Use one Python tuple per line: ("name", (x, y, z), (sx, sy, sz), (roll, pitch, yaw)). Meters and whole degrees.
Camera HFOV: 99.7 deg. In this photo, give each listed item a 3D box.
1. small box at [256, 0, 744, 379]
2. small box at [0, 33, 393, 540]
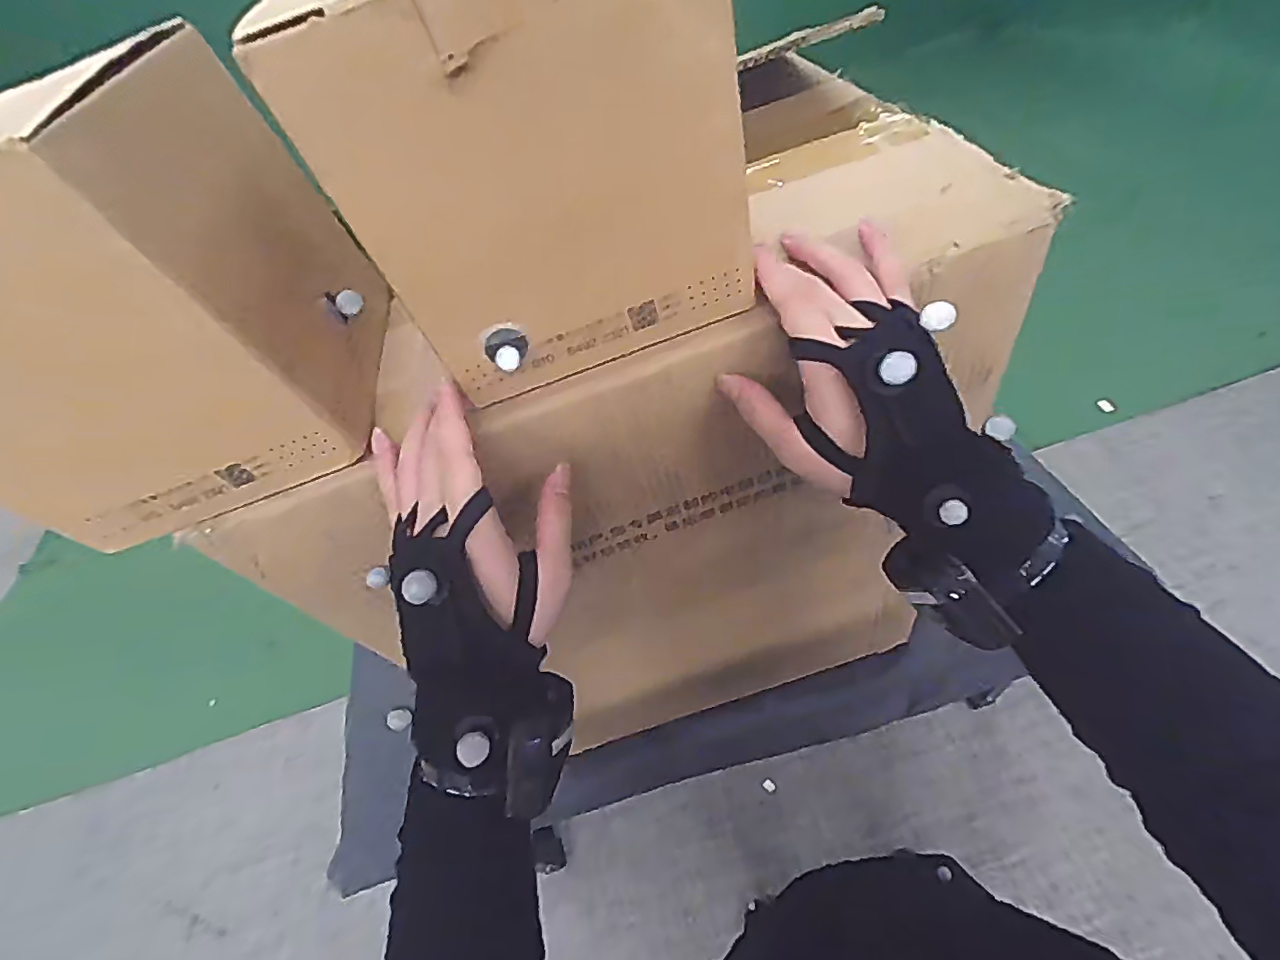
("small box", (-0.052, -0.176, 0.291), (0.168, 0.176, 0.179), (-19, 50, 1))
("small box", (-0.261, -0.098, 0.296), (0.168, 0.176, 0.179), (-20, 50, 5))
